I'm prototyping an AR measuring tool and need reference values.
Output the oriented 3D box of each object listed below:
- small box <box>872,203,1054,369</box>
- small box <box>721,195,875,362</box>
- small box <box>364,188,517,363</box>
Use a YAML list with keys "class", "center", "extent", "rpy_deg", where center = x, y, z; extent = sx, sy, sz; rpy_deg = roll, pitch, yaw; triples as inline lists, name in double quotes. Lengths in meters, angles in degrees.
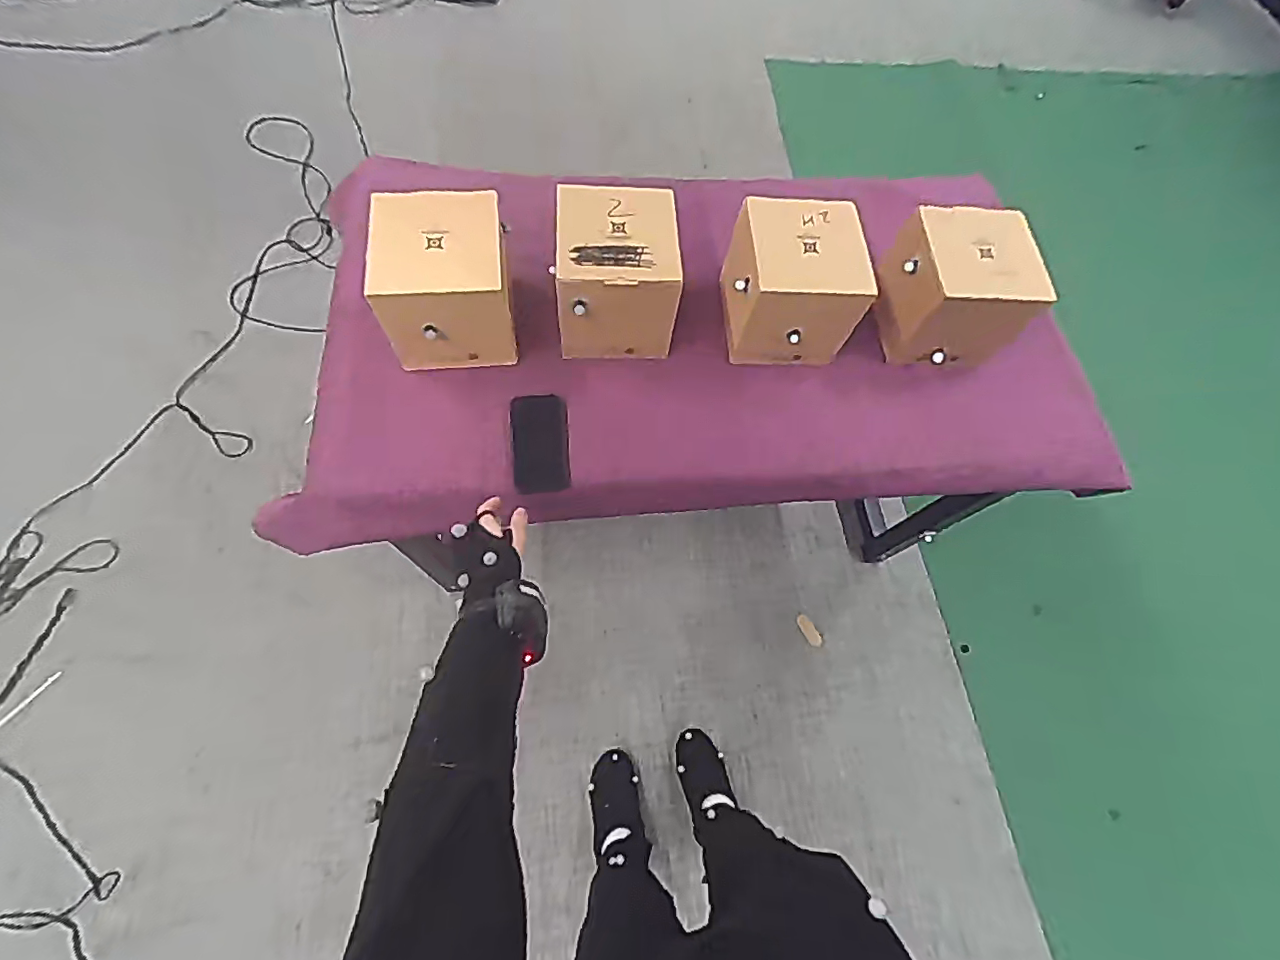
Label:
- class: "small box"
  center: [0.486, -0.298, 0.848]
  extent: [0.168, 0.176, 0.179]
  rpy_deg: [1, 67, -4]
- class: "small box"
  center: [0.227, -0.297, 0.822]
  extent: [0.168, 0.176, 0.179]
  rpy_deg: [1, 67, -6]
- class: "small box"
  center: [-0.271, -0.279, 0.768]
  extent: [0.168, 0.176, 0.179]
  rpy_deg: [-5, 67, -8]
